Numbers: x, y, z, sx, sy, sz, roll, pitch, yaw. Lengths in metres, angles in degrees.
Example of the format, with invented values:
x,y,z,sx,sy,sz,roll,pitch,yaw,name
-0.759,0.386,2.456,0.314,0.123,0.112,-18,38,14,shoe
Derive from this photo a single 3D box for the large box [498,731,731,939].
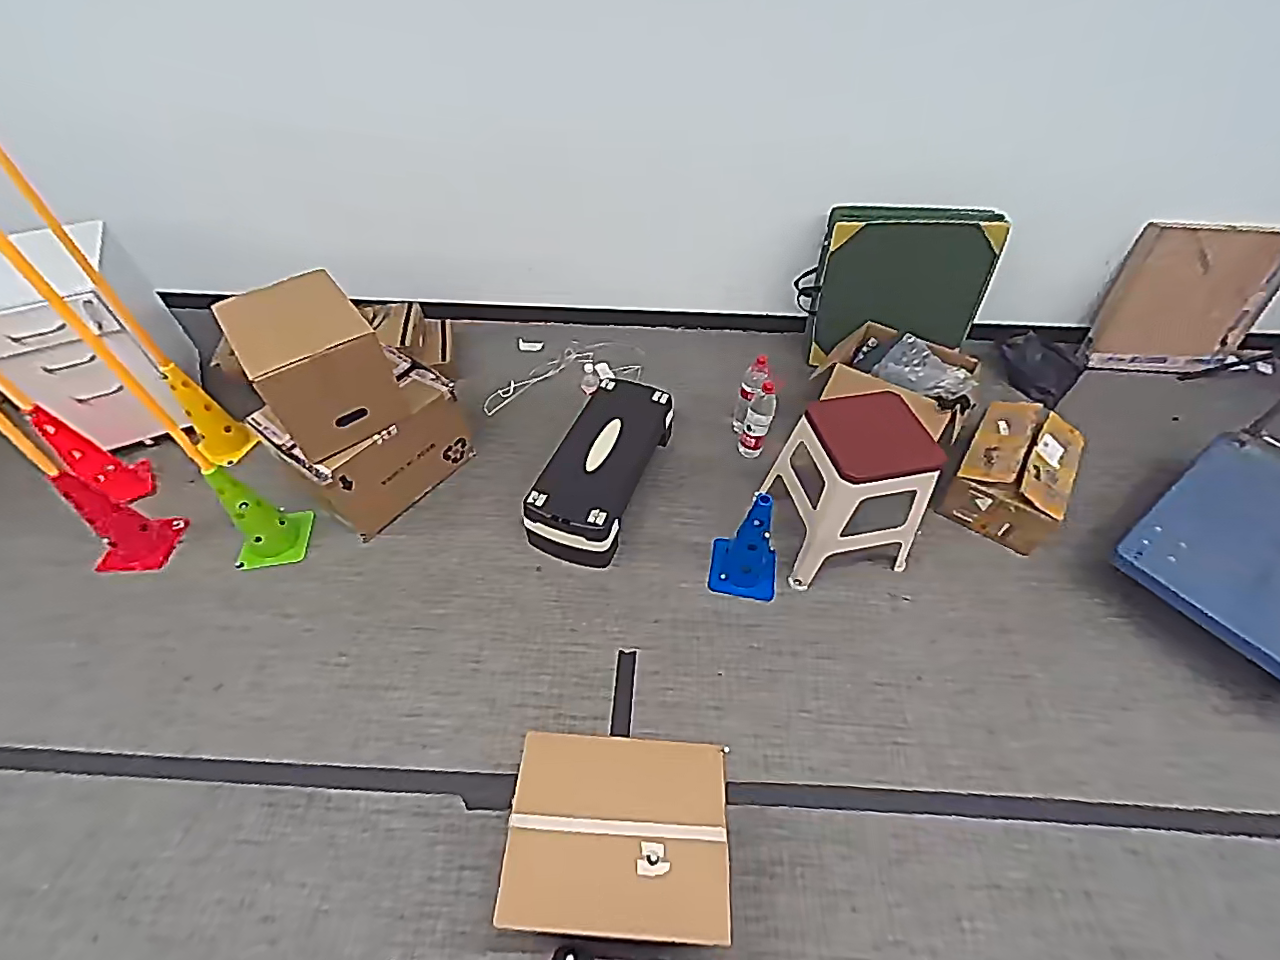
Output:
x,y,z,sx,sy,sz,roll,pitch,yaw,name
-0.044,0.737,1.118,0.408,0.320,0.320,4,51,1,large box
